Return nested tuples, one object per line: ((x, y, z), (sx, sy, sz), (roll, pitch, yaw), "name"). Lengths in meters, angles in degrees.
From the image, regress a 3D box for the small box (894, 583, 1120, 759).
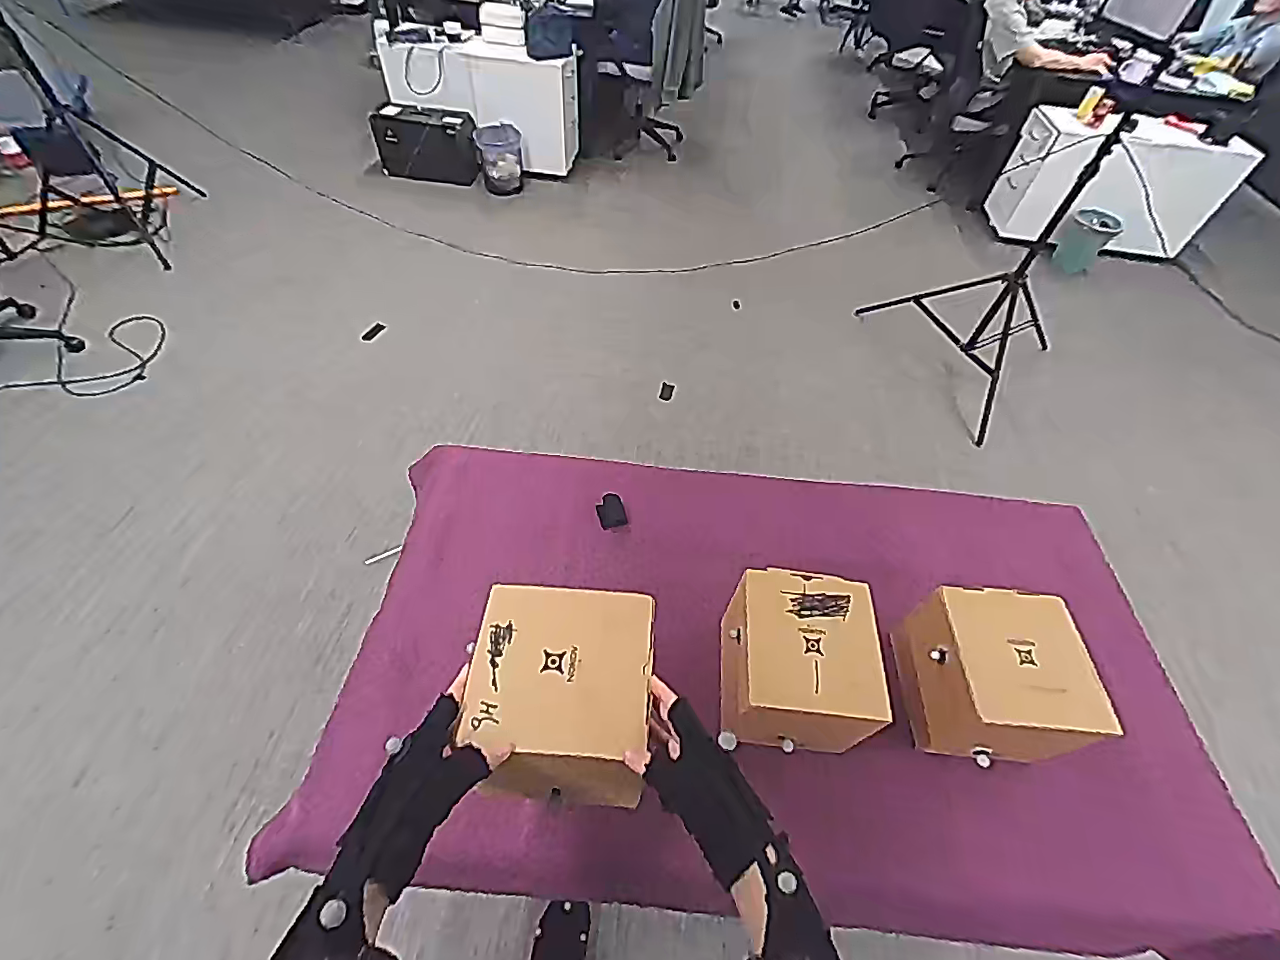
((0.473, 0.262, 0.735), (0.168, 0.176, 0.179), (4, 52, 0), "small box")

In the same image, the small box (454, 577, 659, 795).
((-0.077, 0.226, 0.584), (0.179, 0.176, 0.168), (5, 47, -1), "small box")

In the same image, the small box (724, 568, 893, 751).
((0.208, 0.242, 0.725), (0.168, 0.176, 0.179), (6, 52, 0), "small box")
